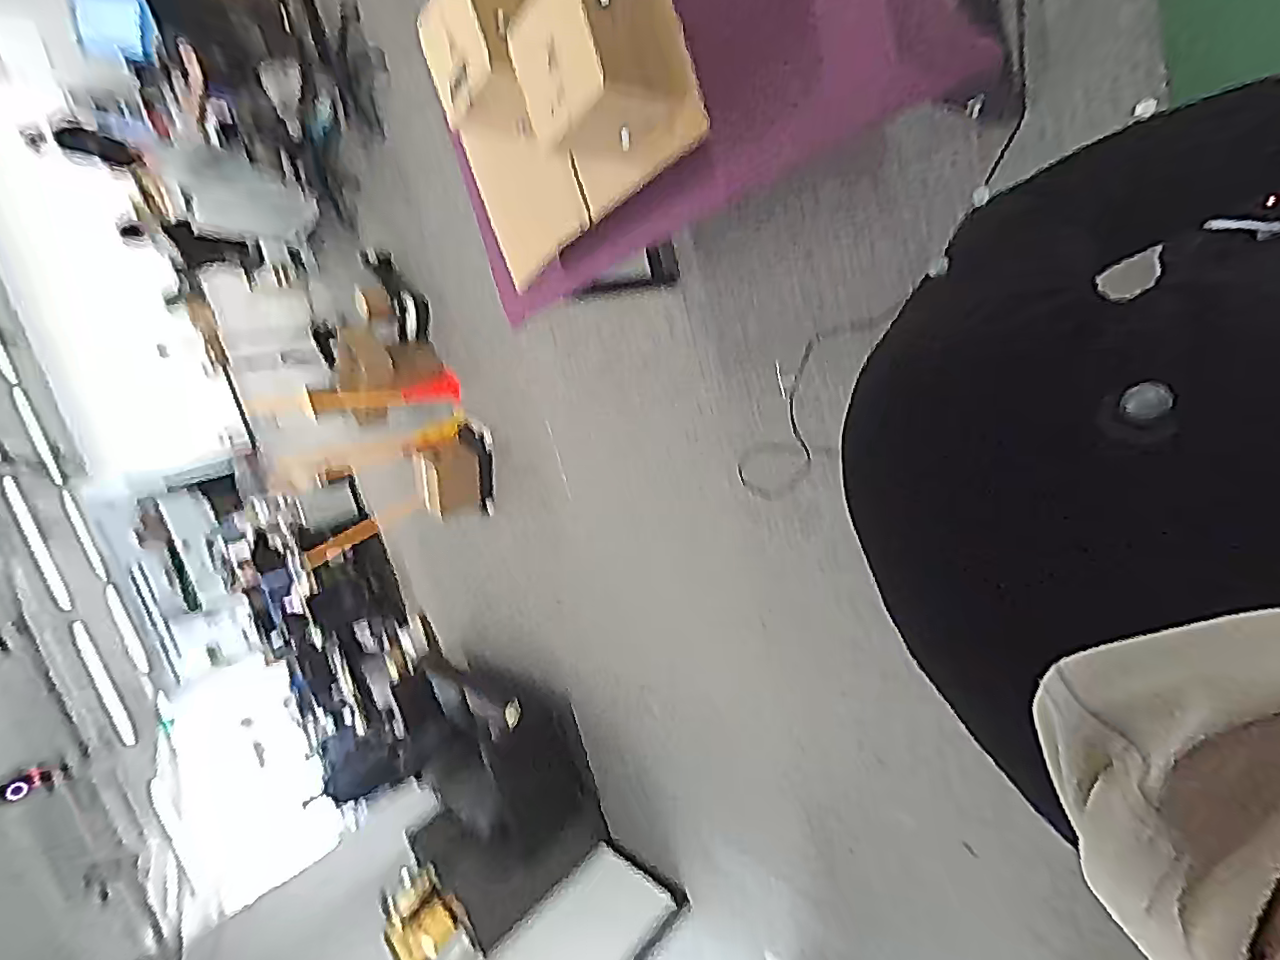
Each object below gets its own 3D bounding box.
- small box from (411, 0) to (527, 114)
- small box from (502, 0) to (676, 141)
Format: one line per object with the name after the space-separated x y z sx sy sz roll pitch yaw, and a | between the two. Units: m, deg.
-0.265 -0.778 0.950 0.168 0.176 0.179 -9 101 46 | small box
-0.074 -0.649 0.819 0.168 0.176 0.179 -8 103 47 | small box
